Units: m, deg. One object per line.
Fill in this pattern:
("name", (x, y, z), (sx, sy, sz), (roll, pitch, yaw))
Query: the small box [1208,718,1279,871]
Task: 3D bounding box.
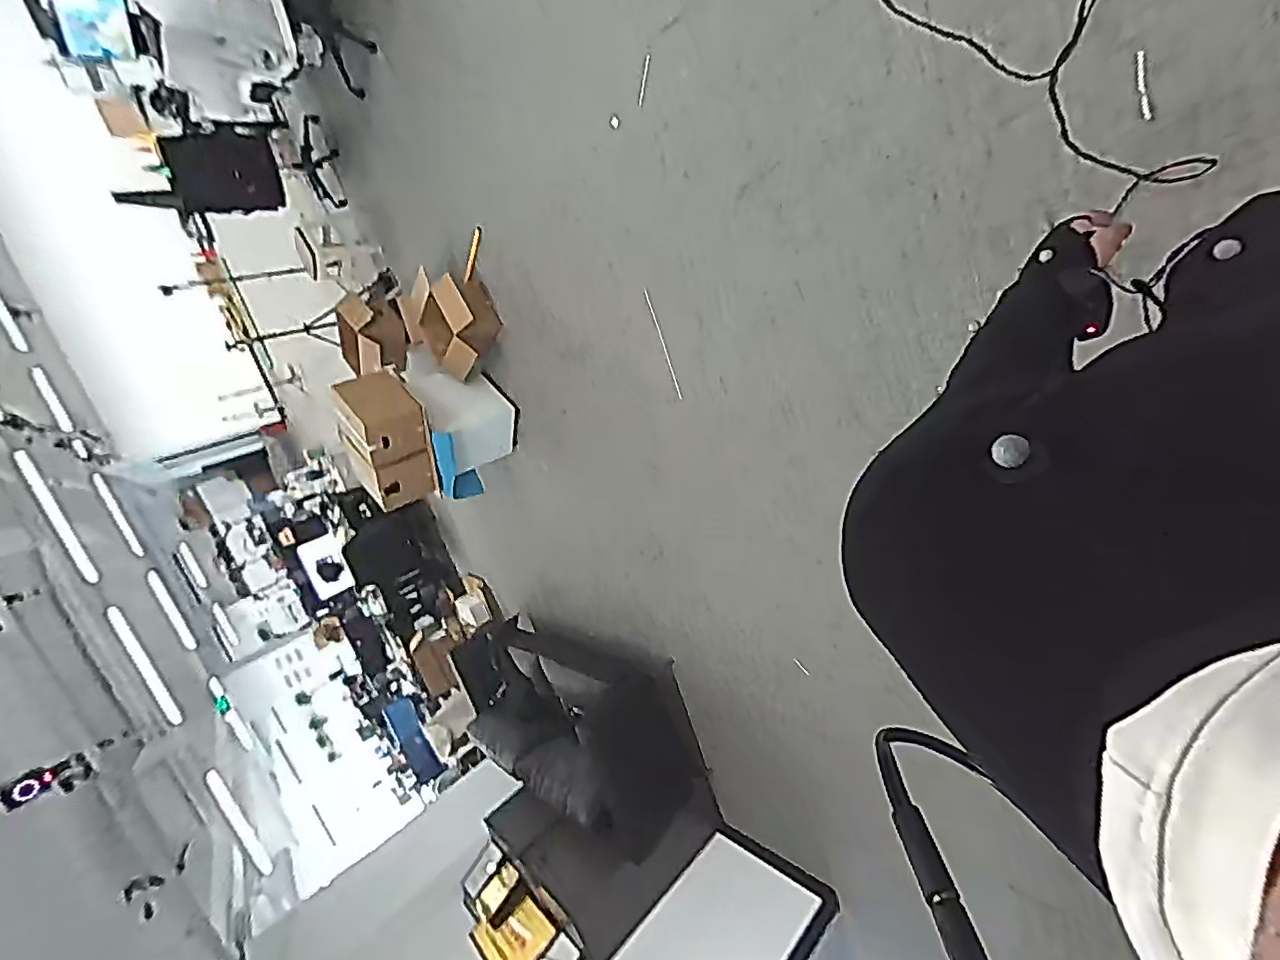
("small box", (1.088, 0.533, 0.904), (0.179, 0.176, 0.168), (-2, 111, 50))
